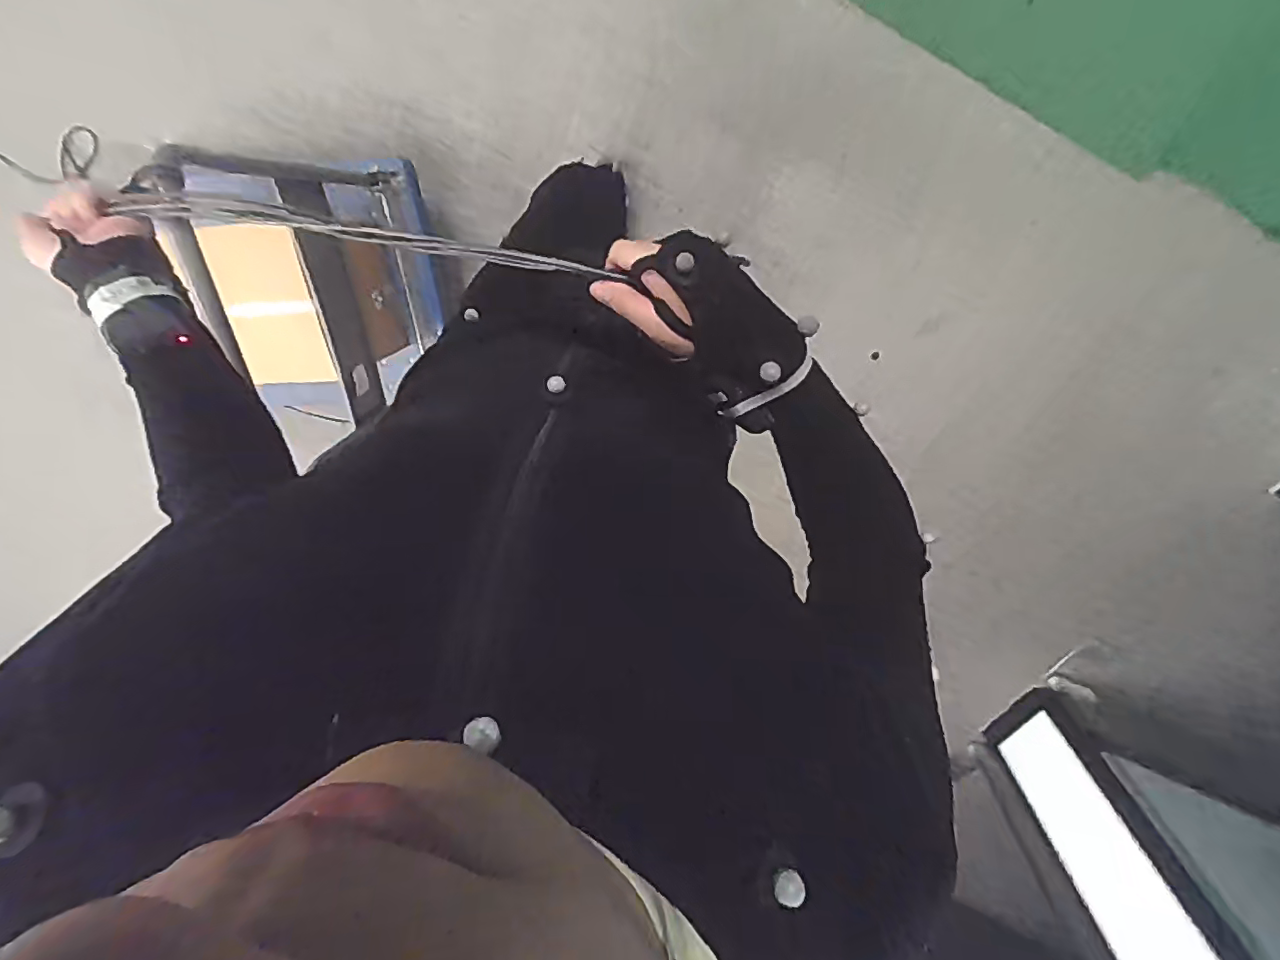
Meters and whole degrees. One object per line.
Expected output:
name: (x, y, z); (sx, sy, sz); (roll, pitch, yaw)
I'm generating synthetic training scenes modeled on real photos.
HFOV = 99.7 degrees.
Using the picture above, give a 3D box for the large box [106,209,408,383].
large box: (-0.819, -0.422, 1.226); (0.408, 0.320, 0.320); (-1, 117, 7)
